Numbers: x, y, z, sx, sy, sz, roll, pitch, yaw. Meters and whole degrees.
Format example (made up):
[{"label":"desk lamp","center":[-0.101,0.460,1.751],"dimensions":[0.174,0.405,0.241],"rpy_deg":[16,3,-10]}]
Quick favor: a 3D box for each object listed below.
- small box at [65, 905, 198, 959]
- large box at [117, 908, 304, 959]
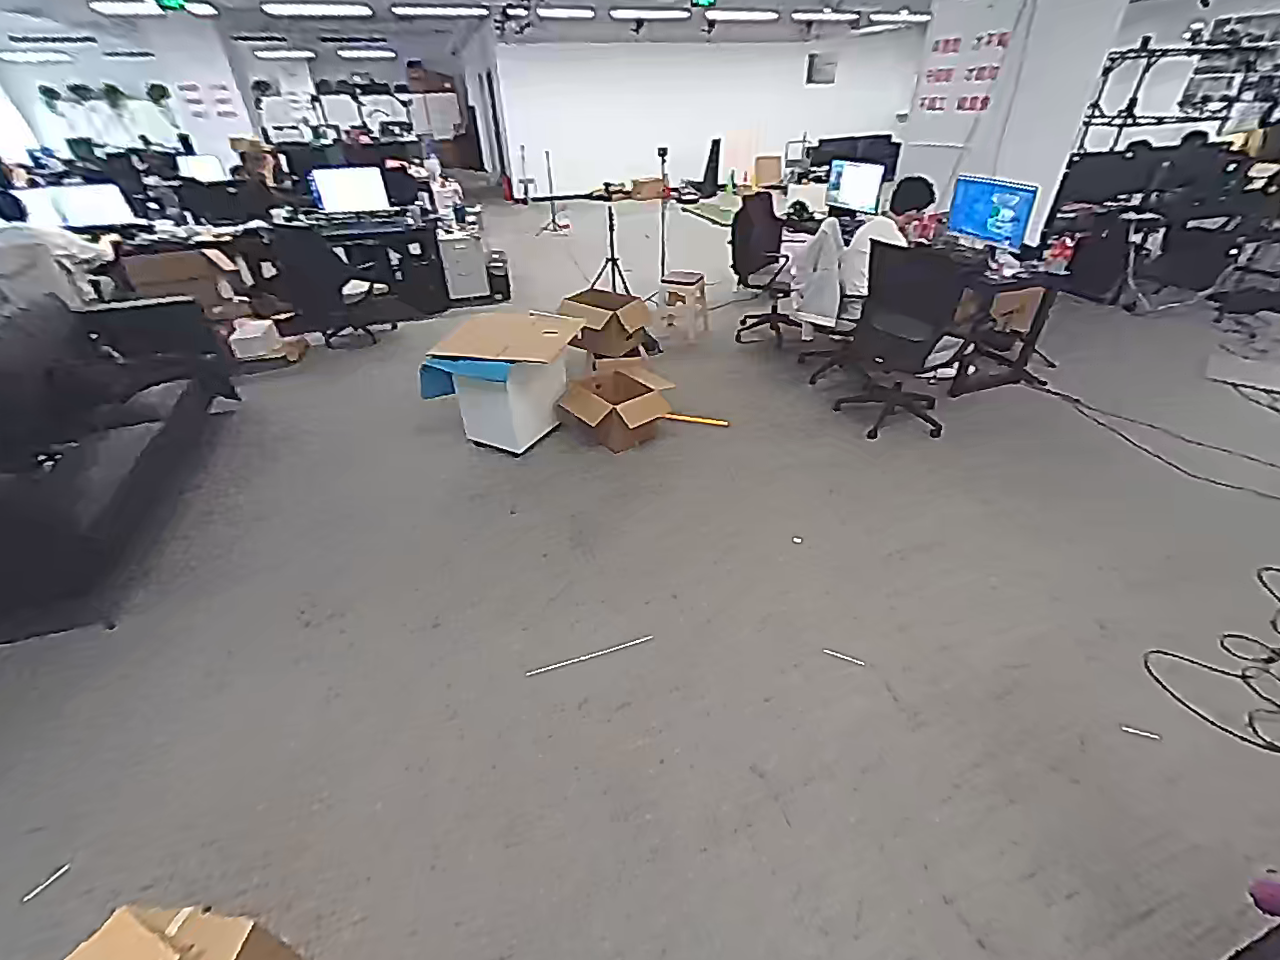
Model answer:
[{"label":"small box","center":[-0.905,0.905,0.946],"dimensions":[0.179,0.176,0.168],"rpy_deg":[15,38,20]},{"label":"large box","center":[-0.955,1.134,1.050],"dimensions":[0.320,0.320,0.408],"rpy_deg":[2,36,5]}]
